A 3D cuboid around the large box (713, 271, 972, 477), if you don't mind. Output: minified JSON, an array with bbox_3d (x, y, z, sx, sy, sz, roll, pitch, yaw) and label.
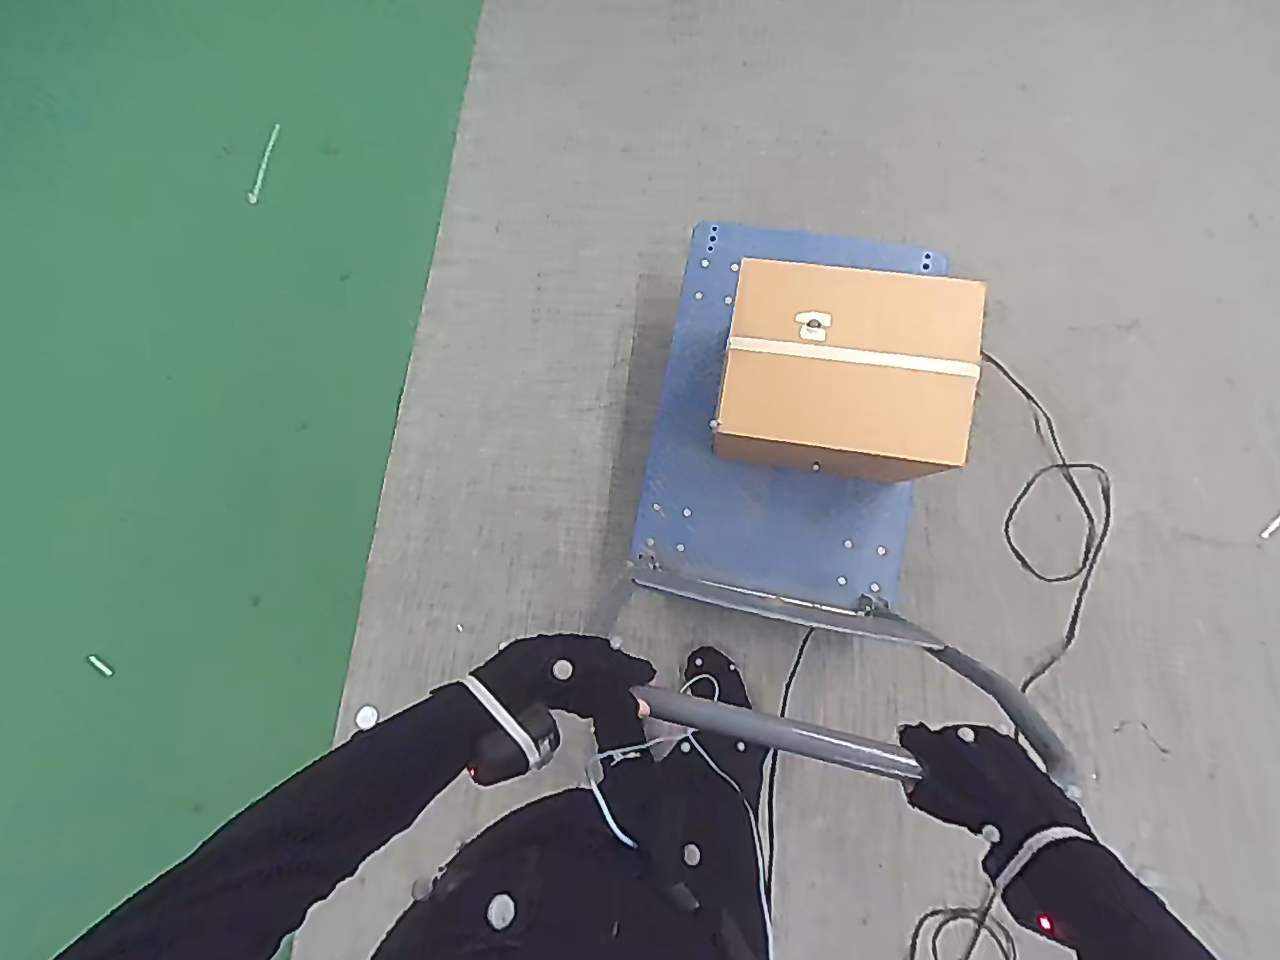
[{"bbox_3d":[0.364,-0.187,1.069,0.408,0.320,0.320,8,86,8],"label":"large box"}]
